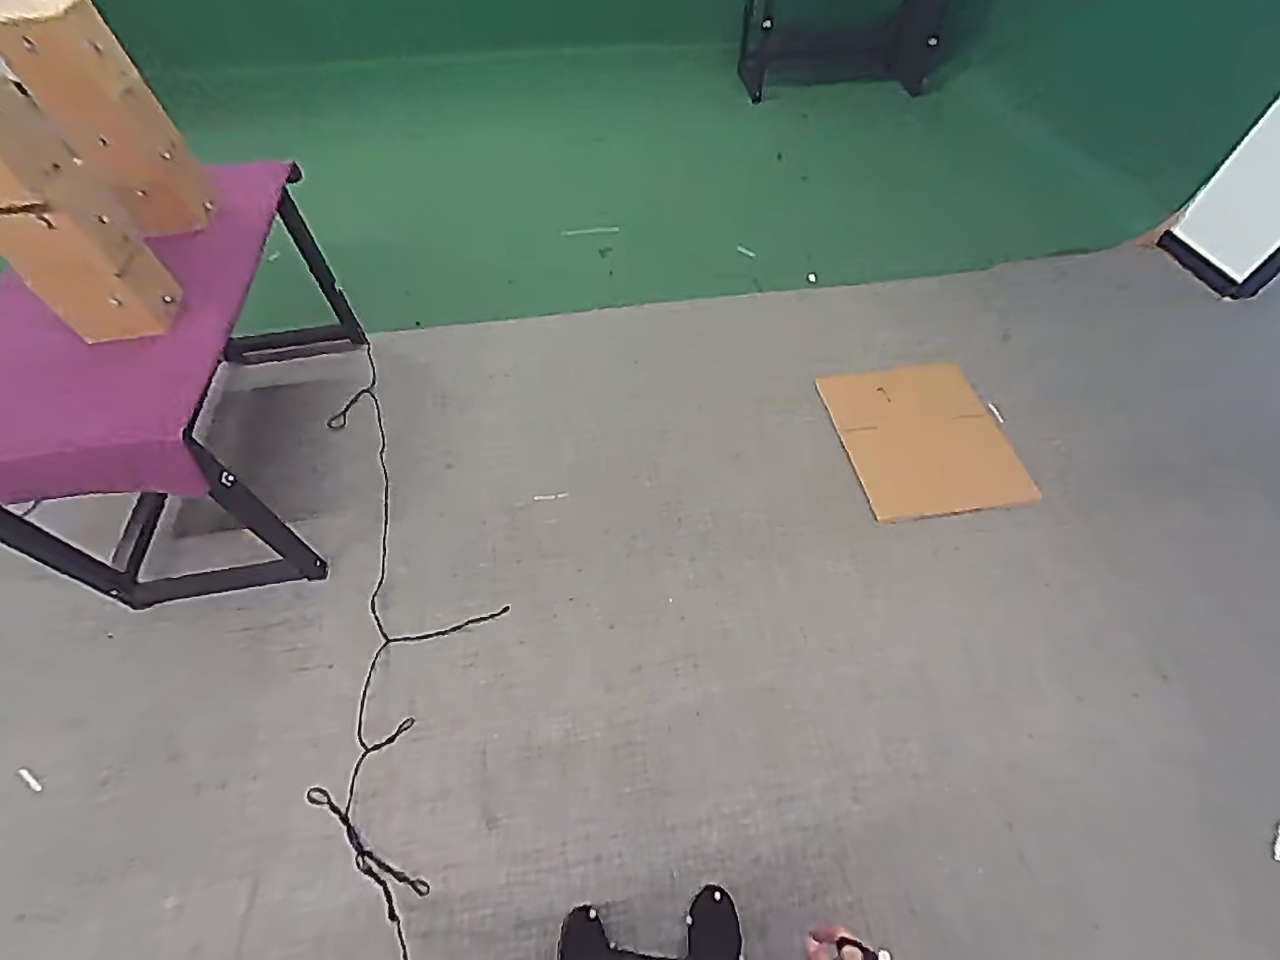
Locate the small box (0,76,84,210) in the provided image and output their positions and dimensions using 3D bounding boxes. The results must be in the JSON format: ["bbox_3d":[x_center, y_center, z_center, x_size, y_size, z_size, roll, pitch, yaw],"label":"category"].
[{"bbox_3d":[-1.237,-0.627,1.018,0.179,0.176,0.168,-7,56,-5],"label":"small box"}]

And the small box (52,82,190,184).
[{"bbox_3d":[-1.345,-0.907,1.418,0.179,0.176,0.168,-9,57,-3],"label":"small box"}]

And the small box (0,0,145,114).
[{"bbox_3d":[-1.352,-1.007,1.291,0.179,0.176,0.168,-10,57,-4],"label":"small box"}]

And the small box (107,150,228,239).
[{"bbox_3d":[-1.345,-0.816,1.554,0.179,0.176,0.168,-7,57,-4],"label":"small box"}]

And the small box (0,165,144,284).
[{"bbox_3d":[-1.235,-0.546,1.162,0.179,0.176,0.168,-10,55,-7],"label":"small box"}]
